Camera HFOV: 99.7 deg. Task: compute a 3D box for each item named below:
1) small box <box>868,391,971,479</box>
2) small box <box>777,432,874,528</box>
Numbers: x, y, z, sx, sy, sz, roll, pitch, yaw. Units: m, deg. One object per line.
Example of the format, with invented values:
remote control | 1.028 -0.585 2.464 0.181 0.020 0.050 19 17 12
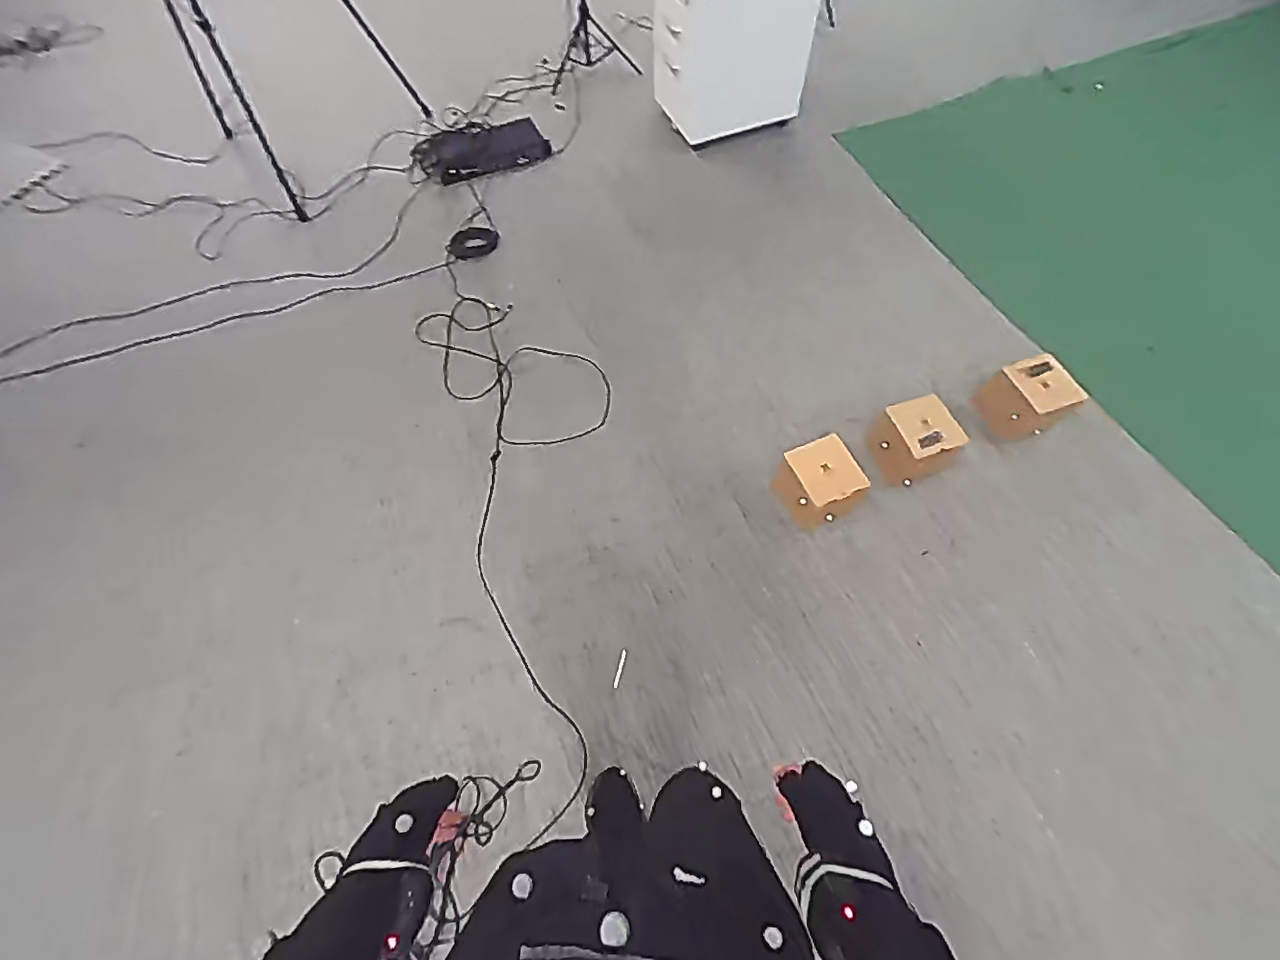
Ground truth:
small box | 0.782 -0.119 1.532 0.168 0.176 0.179 -16 62 -7
small box | 0.496 0.003 1.482 0.168 0.176 0.179 -22 64 -9
